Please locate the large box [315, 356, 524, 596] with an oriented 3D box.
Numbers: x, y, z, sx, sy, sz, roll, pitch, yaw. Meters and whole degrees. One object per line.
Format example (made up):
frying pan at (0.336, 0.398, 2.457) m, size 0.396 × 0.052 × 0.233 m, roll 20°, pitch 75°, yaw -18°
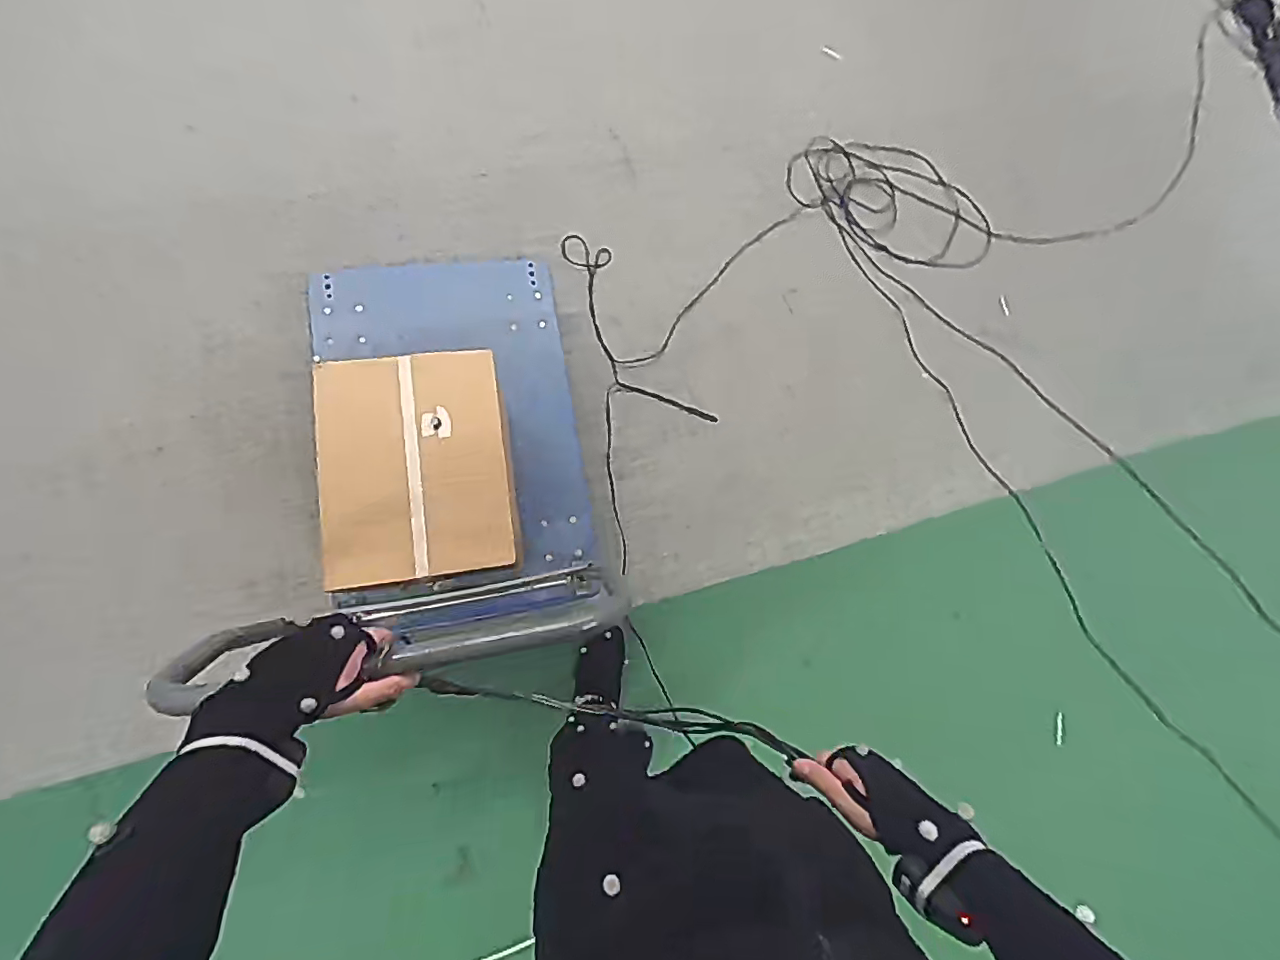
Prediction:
large box at (-0.419, 0.009, 1.094) m, size 0.320 × 0.320 × 0.408 m, roll -6°, pitch 79°, yaw -11°
